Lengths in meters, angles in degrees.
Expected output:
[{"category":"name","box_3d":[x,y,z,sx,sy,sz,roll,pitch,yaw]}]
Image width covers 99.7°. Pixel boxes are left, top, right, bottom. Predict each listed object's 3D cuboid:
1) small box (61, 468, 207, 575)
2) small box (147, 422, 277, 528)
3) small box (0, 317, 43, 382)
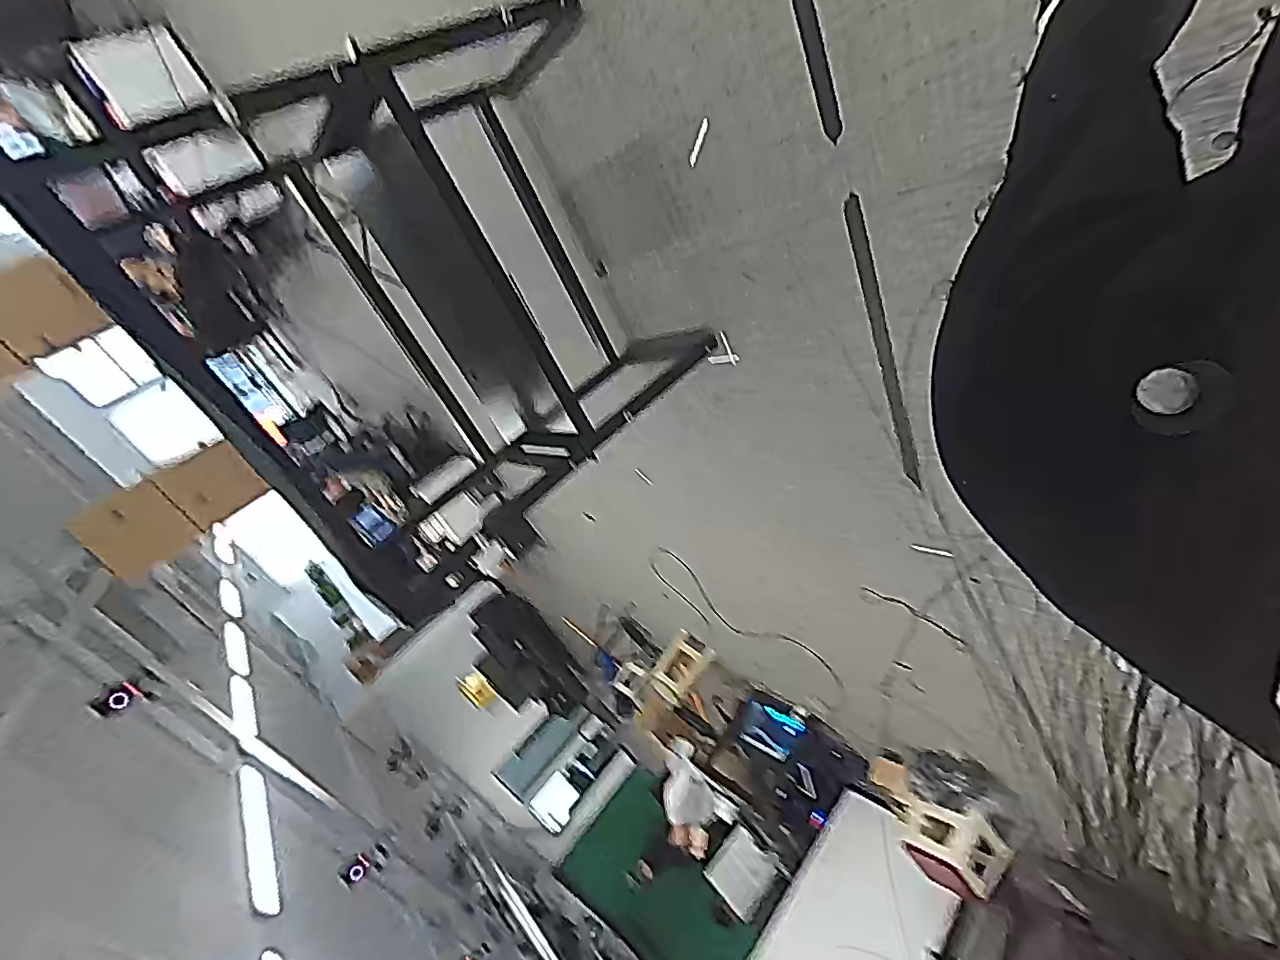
[{"category":"small box","box_3d":[-1.108,0.082,1.214,0.168,0.176,0.179,3,131,58]},{"category":"small box","box_3d":[-0.994,-0.017,1.274,0.168,0.176,0.179,8,133,54]},{"category":"small box","box_3d":[-1.292,-0.253,1.013,0.179,0.176,0.168,15,141,48]}]
